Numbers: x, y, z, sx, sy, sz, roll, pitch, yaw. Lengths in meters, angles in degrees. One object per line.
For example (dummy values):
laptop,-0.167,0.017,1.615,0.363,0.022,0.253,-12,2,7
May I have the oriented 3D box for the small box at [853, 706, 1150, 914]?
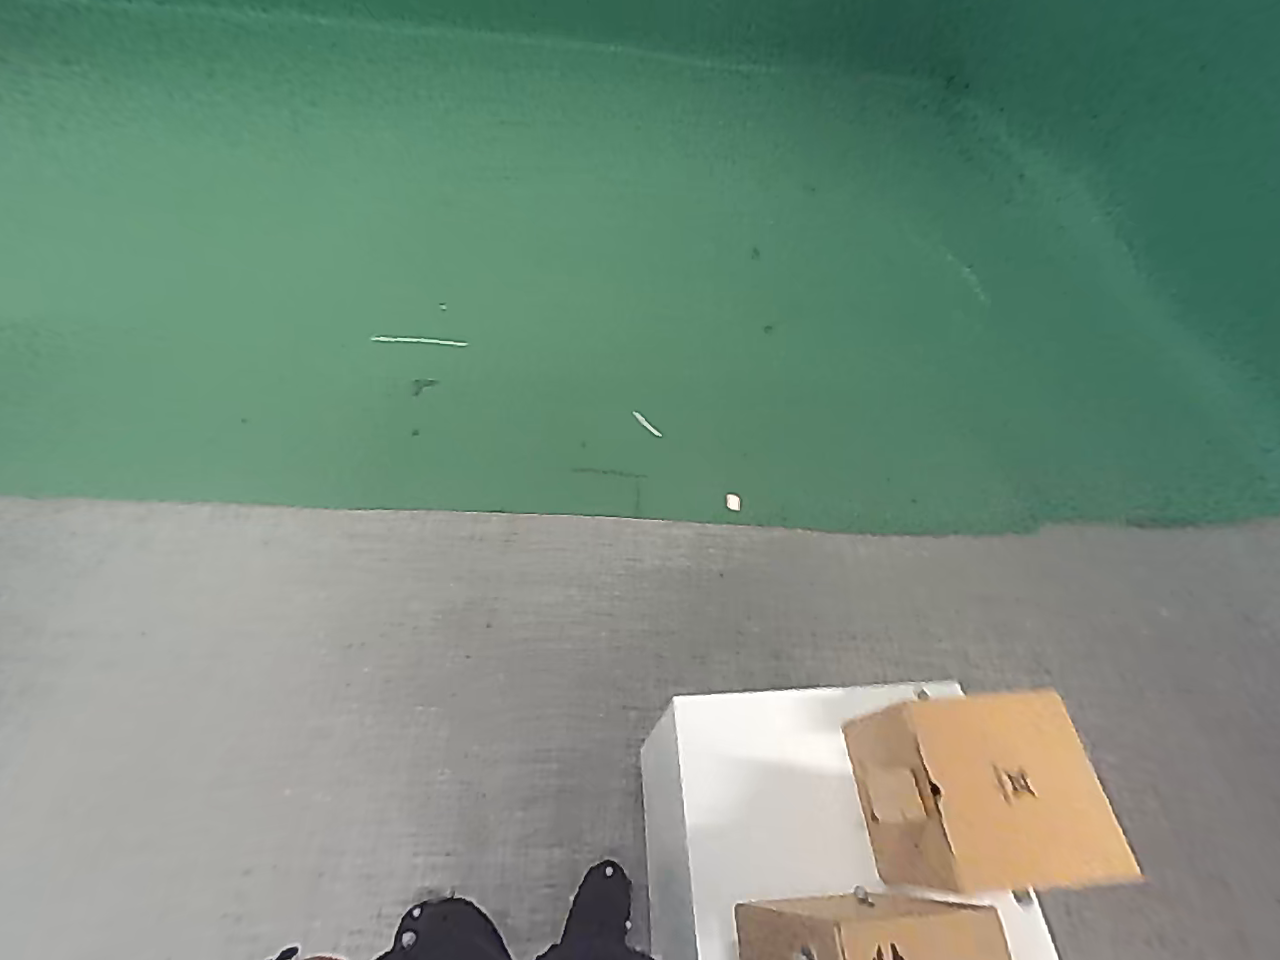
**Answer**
small box,0.364,0.350,0.586,0.179,0.176,0.168,-2,57,-5
